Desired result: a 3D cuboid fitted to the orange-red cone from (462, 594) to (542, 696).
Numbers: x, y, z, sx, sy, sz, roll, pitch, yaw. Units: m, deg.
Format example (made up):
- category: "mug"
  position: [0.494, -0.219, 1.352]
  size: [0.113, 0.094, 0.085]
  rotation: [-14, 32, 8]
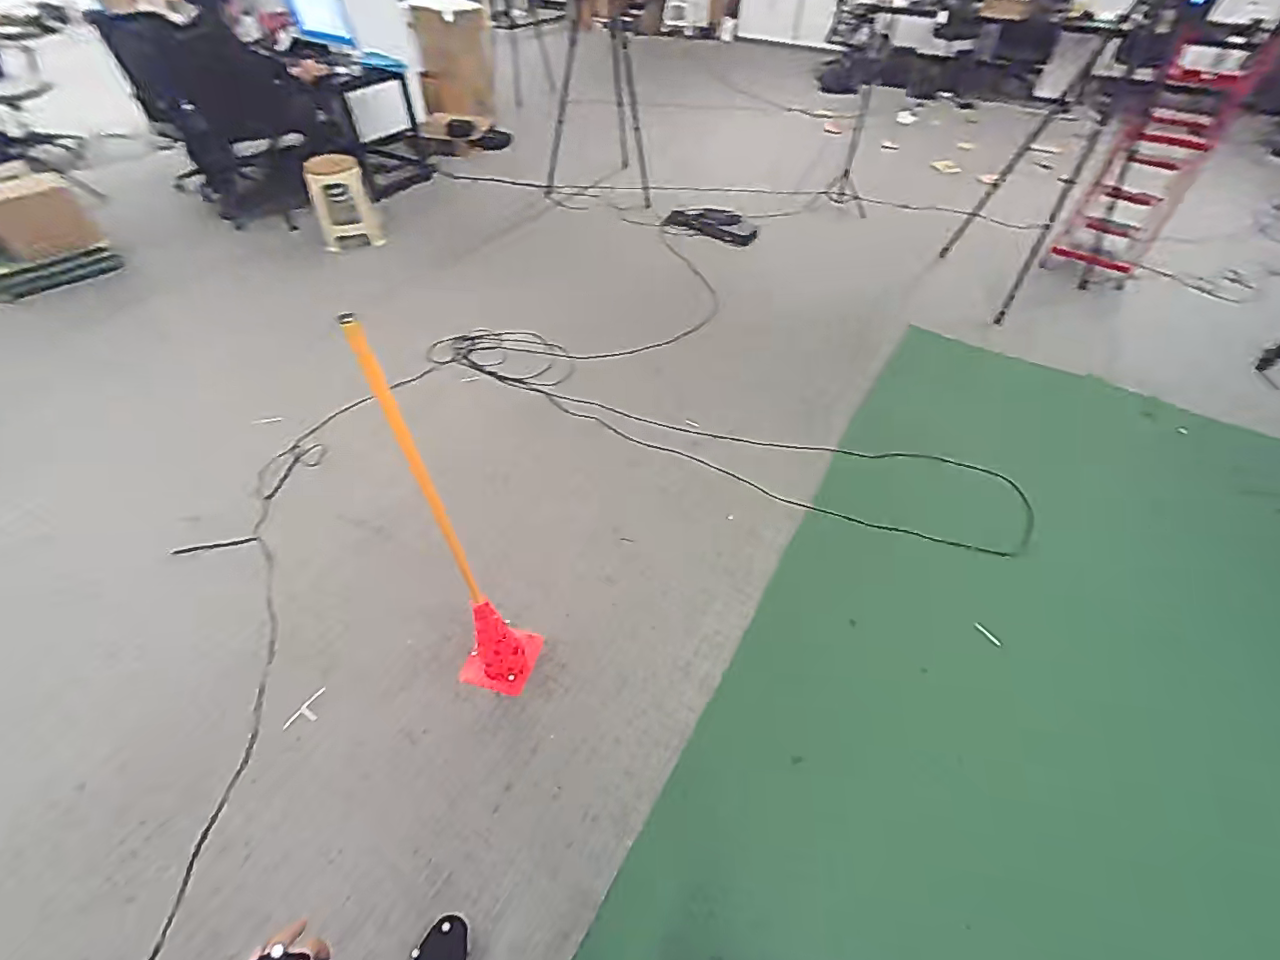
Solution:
- category: "orange-red cone"
  position: [-0.419, 0.433, 1.544]
  size: [0.198, 0.360, 0.199]
  rotation: [14, 48, 10]
